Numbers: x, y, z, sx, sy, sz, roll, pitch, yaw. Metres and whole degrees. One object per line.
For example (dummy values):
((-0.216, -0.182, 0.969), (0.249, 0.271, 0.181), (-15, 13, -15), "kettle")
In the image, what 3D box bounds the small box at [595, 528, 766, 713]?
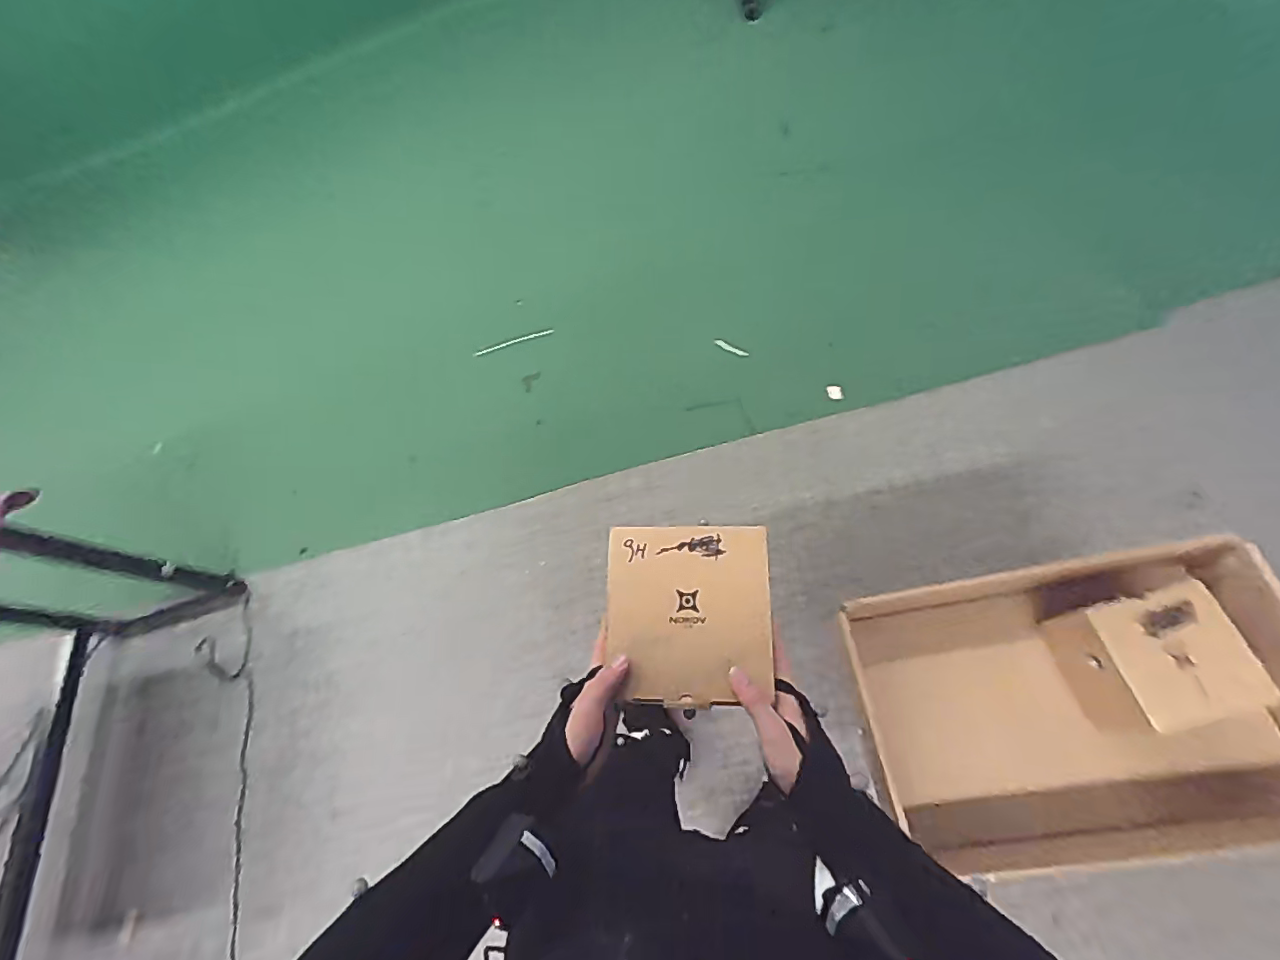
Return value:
((0.050, 0.158, 0.607), (0.168, 0.176, 0.179), (-2, 70, 7), "small box")
